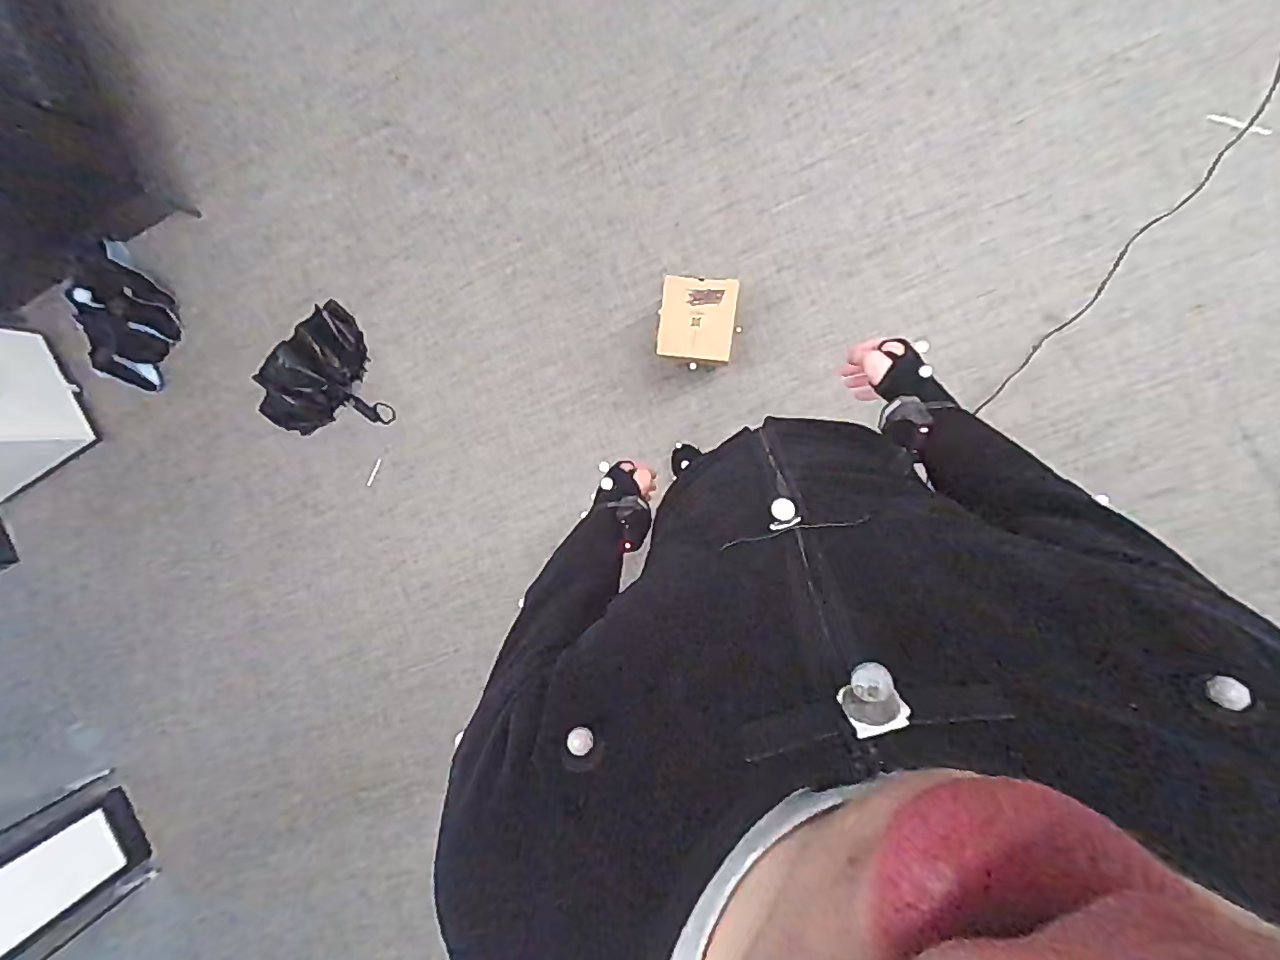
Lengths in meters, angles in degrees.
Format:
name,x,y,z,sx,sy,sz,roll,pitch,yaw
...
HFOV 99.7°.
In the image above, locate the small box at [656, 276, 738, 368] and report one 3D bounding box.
name,x,y,z,sx,sy,sz,roll,pitch,yaw
small box,0.138,-0.368,1.278,0.168,0.176,0.179,8,99,10
